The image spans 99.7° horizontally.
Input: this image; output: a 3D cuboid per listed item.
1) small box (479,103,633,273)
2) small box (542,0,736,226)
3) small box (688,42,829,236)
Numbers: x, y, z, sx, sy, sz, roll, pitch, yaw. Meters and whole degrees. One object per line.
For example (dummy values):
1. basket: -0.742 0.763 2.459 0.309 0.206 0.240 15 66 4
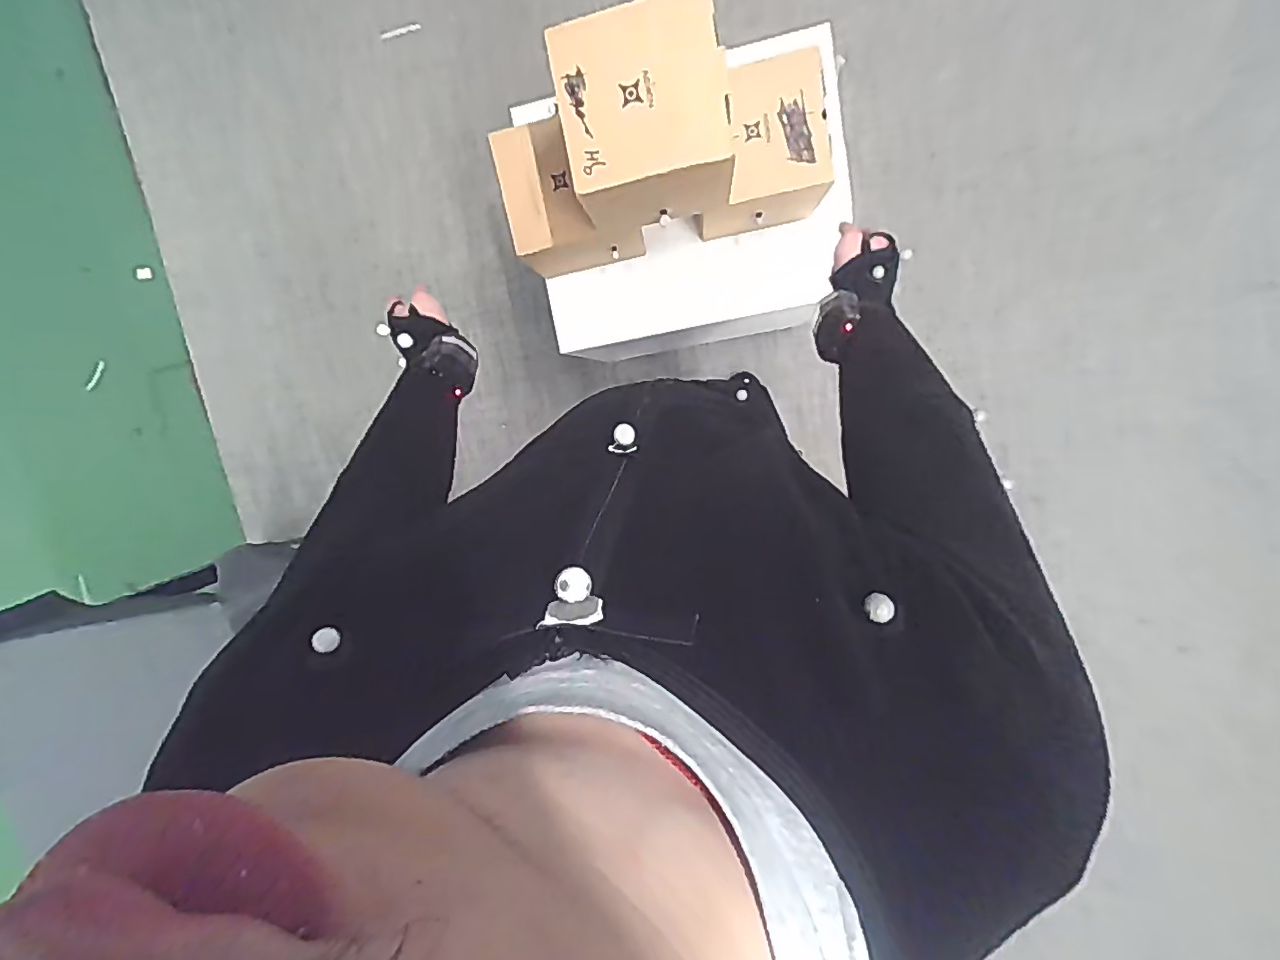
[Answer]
1. small box: -0.109 -0.419 0.794 0.179 0.176 0.168 -11 98 6
2. small box: 0.004 -0.413 0.621 0.179 0.176 0.168 -9 99 6
3. small box: 0.151 -0.465 0.767 0.179 0.176 0.168 -9 100 7
